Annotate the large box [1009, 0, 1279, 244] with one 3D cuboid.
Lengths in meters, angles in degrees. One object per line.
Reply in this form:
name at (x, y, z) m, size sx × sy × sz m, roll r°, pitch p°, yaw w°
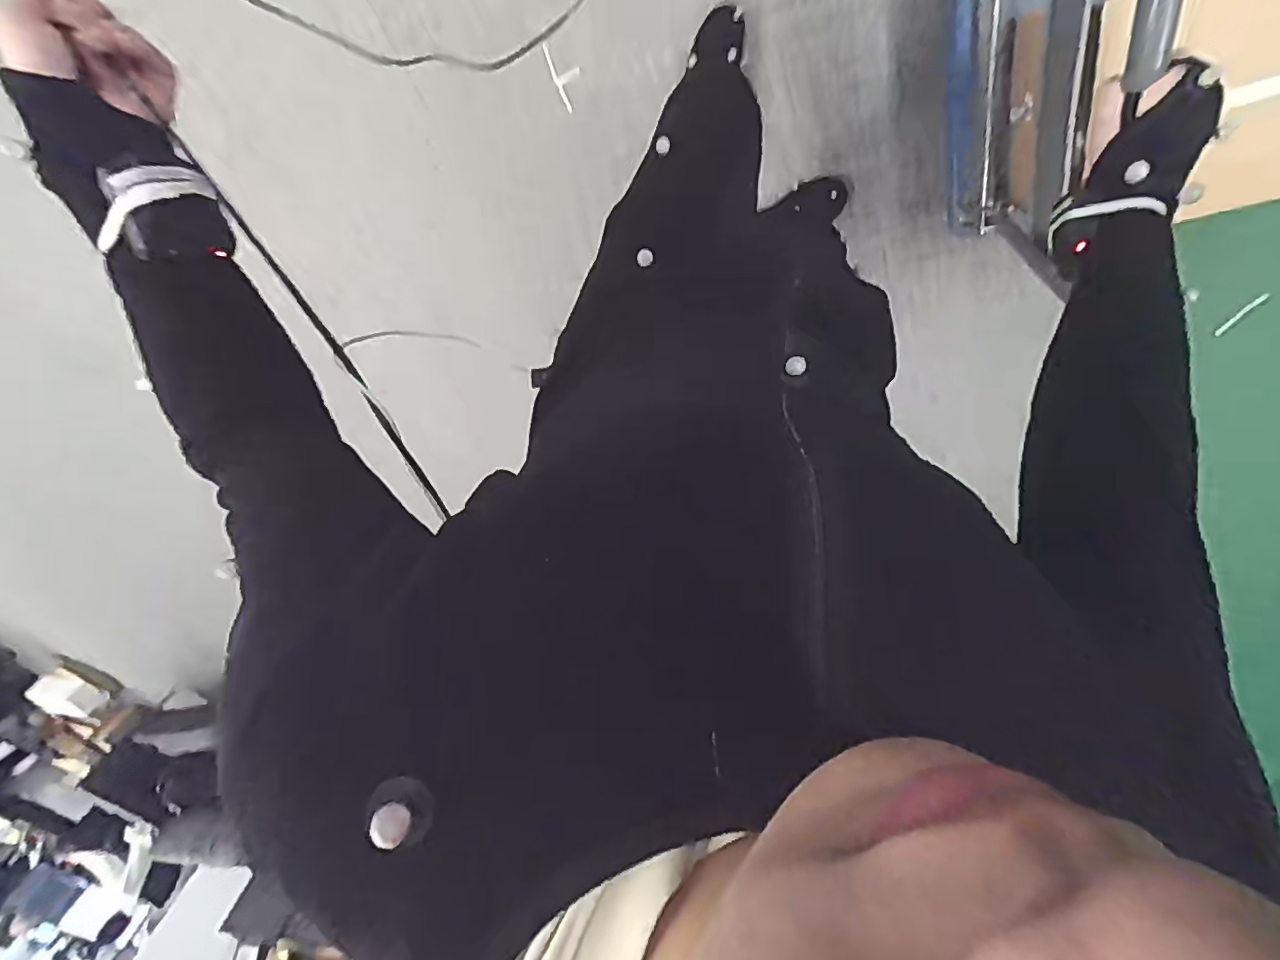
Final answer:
large box at (0.856, -0.616, 0.842) m, size 0.408 × 0.320 × 0.320 m, roll -9°, pitch 125°, yaw 19°
